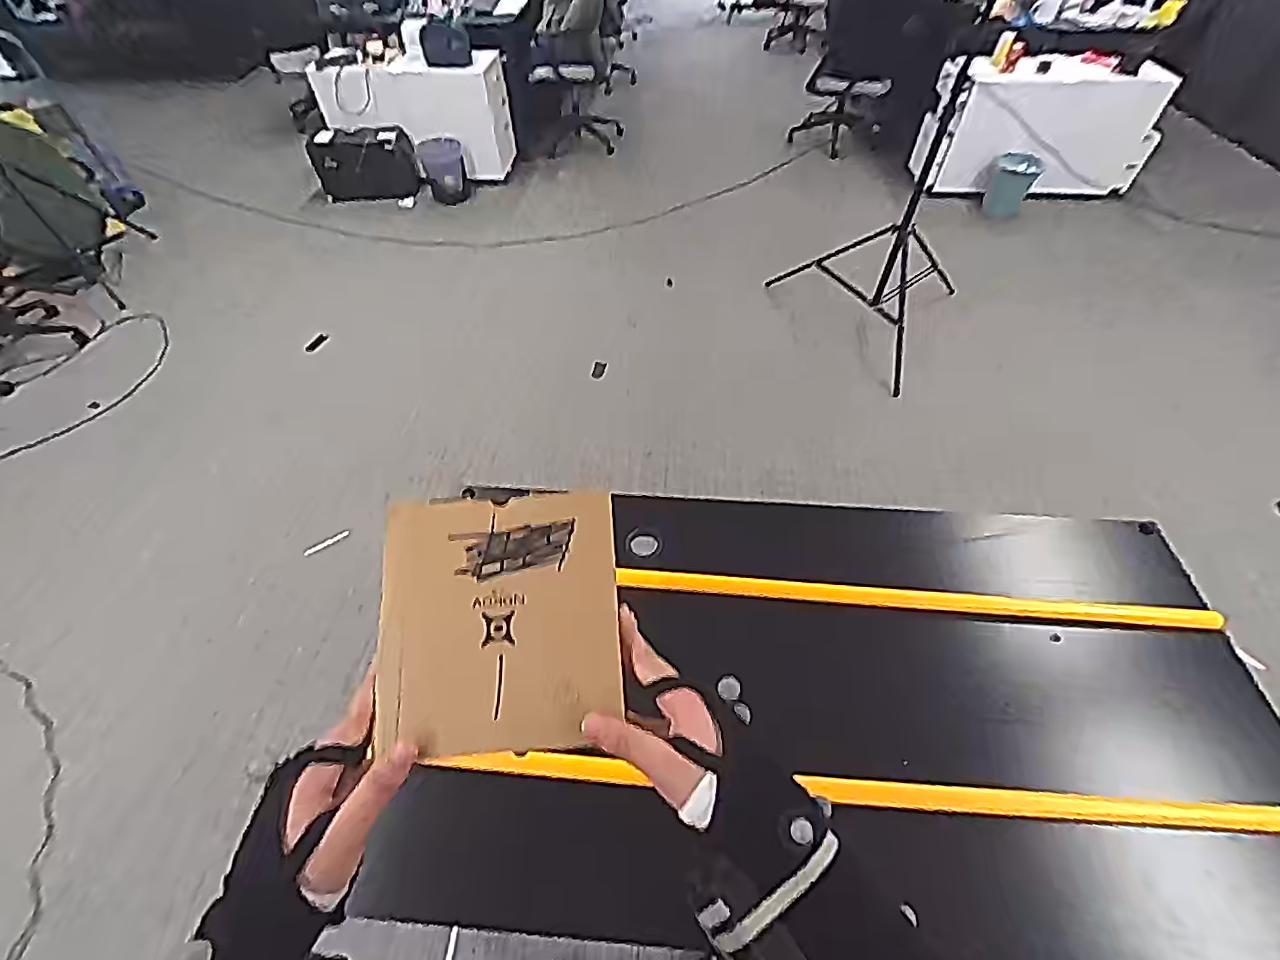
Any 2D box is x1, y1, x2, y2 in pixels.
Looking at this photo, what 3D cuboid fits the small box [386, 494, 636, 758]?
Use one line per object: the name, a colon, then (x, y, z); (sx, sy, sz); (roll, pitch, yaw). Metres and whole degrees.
small box: (-0.093, 0.123, 0.459); (0.168, 0.176, 0.179); (-4, 71, -3)
